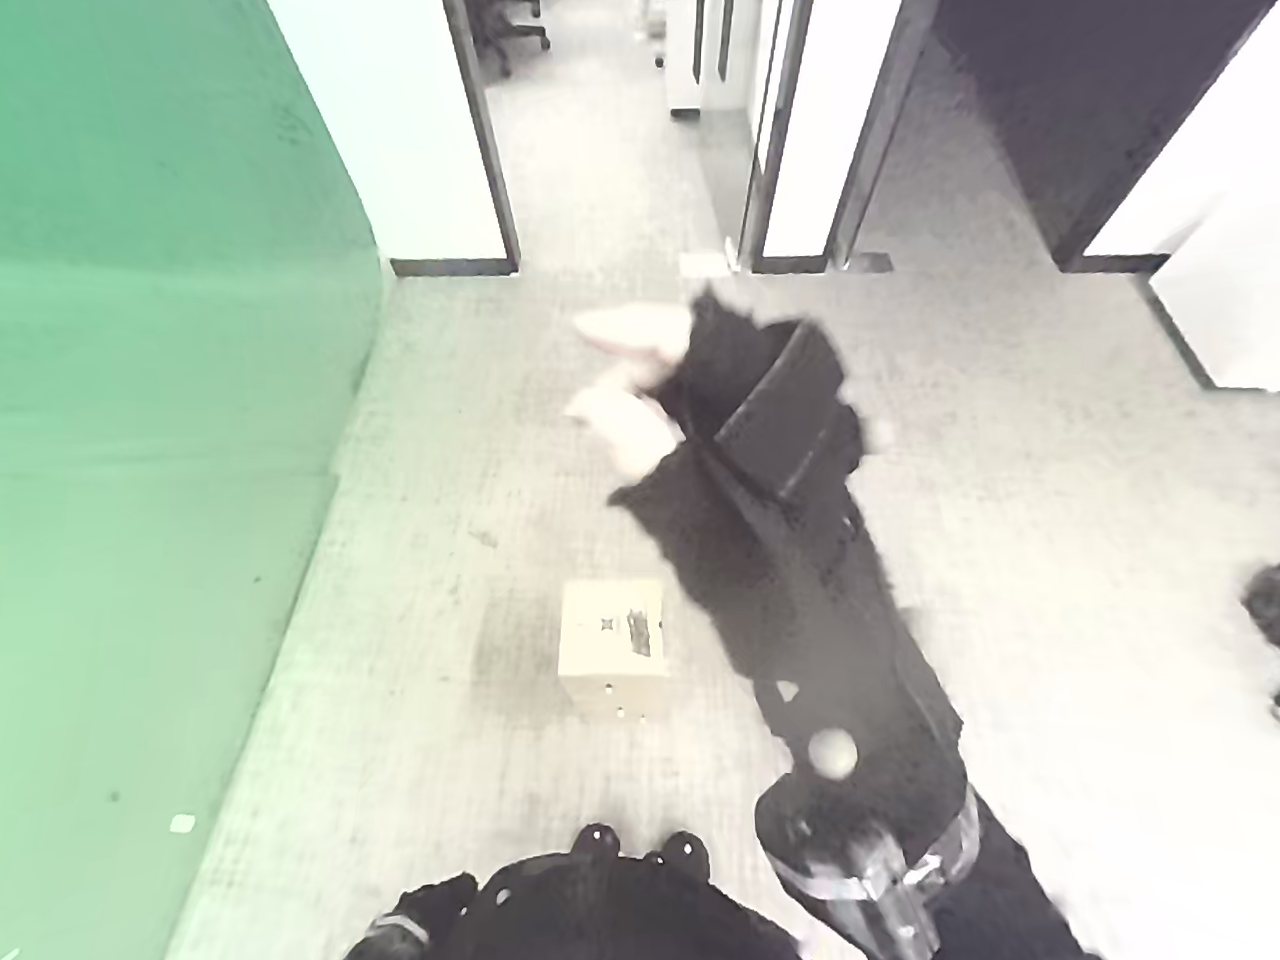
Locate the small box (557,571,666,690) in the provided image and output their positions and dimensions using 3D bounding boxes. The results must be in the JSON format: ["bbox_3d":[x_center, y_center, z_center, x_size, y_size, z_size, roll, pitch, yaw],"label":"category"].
[{"bbox_3d":[-0.044,0.279,0.989,0.179,0.176,0.168,2,57,3],"label":"small box"}]
